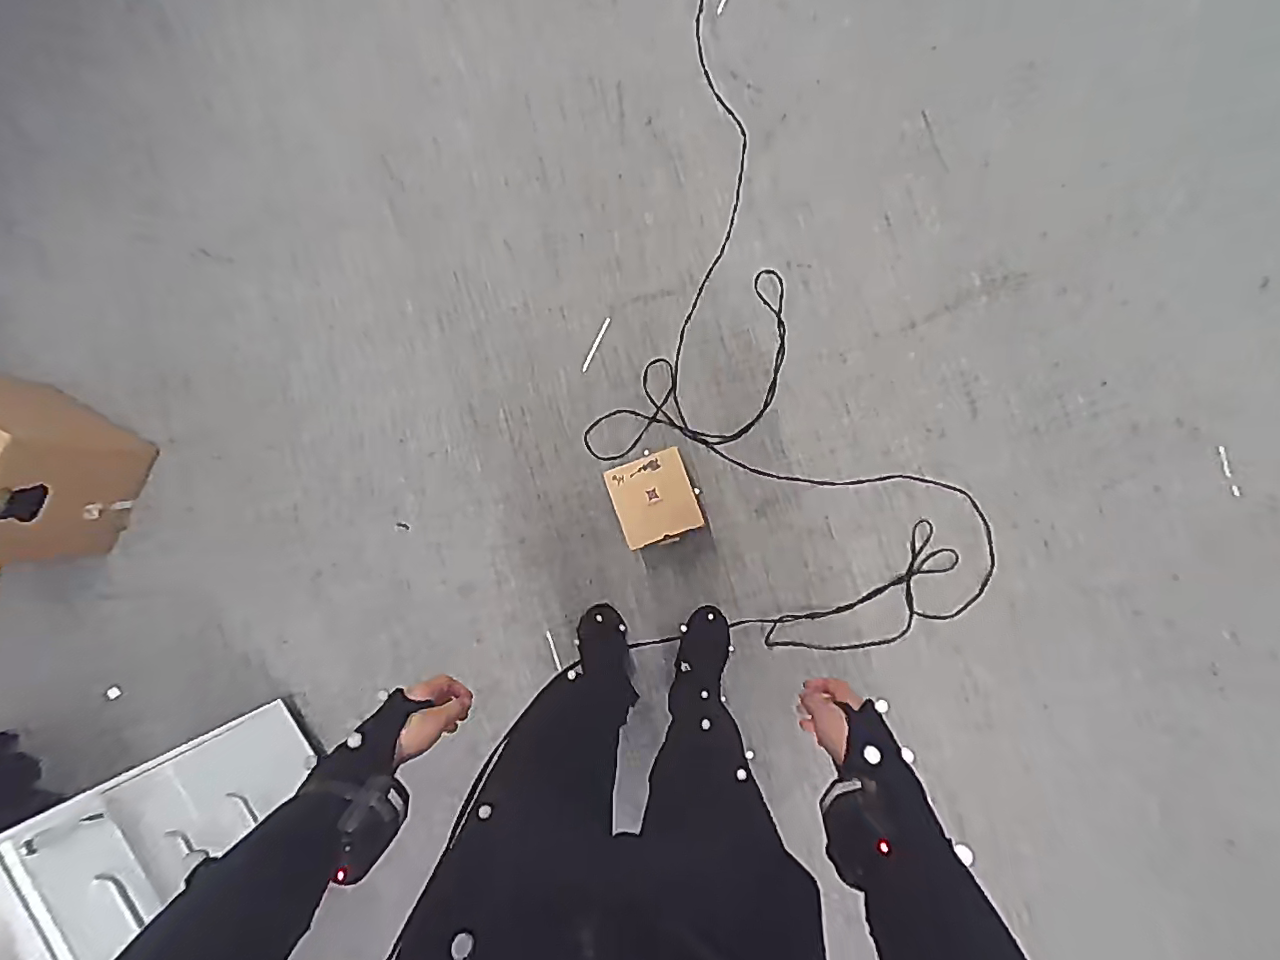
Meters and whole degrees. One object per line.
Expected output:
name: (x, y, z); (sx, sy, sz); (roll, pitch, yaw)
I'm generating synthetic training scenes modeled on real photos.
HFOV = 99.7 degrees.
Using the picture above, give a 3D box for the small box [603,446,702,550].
small box: (0.034, 0.036, 1.187); (0.168, 0.176, 0.179); (-20, 88, 5)
